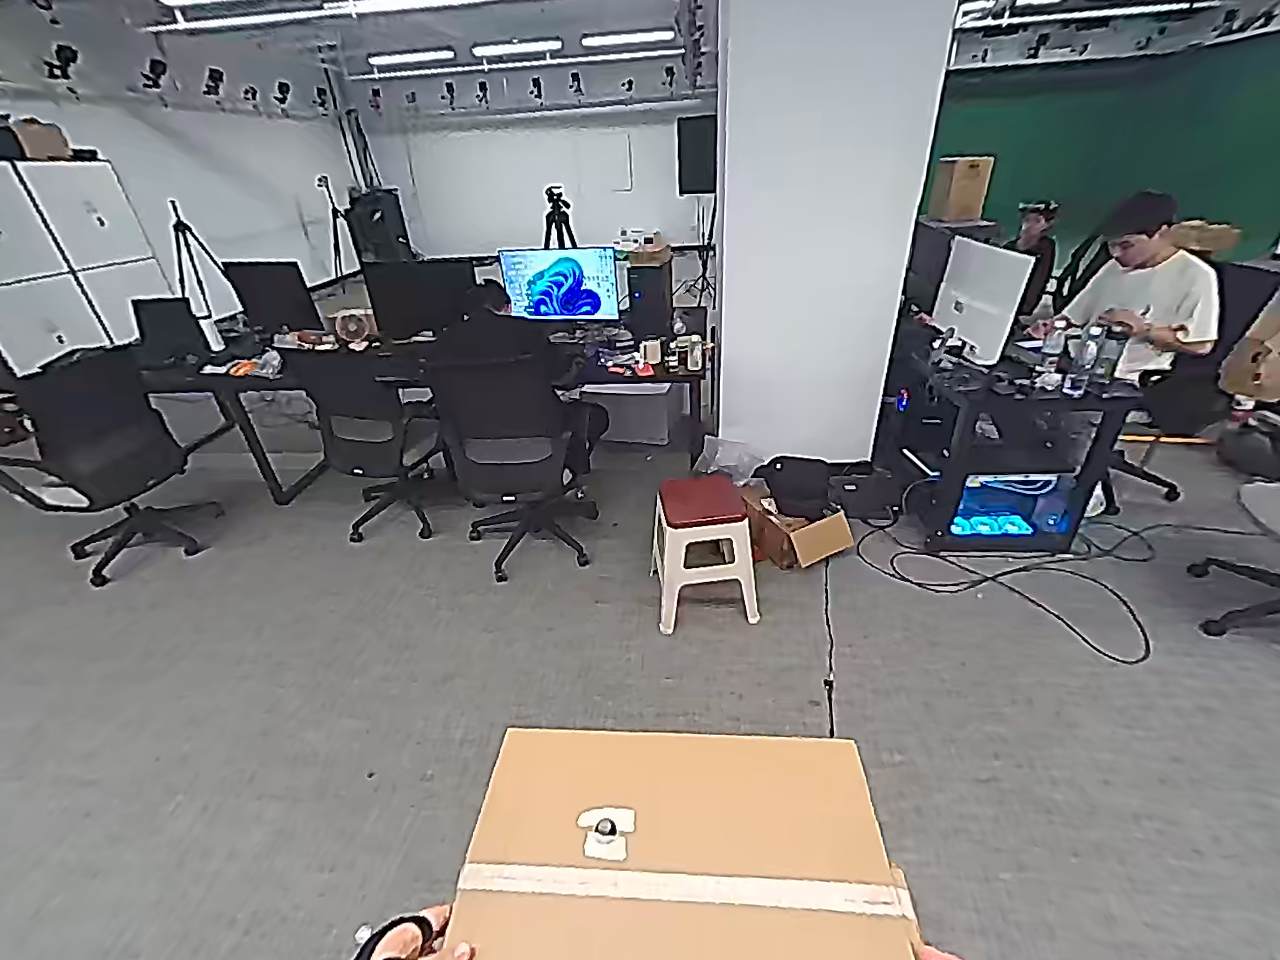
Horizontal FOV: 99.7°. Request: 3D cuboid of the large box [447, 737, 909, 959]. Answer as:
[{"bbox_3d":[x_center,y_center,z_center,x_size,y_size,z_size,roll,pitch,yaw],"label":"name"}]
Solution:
[{"bbox_3d":[0.047,0.511,0.583,0.408,0.320,0.320,-3,31,7],"label":"large box"}]
